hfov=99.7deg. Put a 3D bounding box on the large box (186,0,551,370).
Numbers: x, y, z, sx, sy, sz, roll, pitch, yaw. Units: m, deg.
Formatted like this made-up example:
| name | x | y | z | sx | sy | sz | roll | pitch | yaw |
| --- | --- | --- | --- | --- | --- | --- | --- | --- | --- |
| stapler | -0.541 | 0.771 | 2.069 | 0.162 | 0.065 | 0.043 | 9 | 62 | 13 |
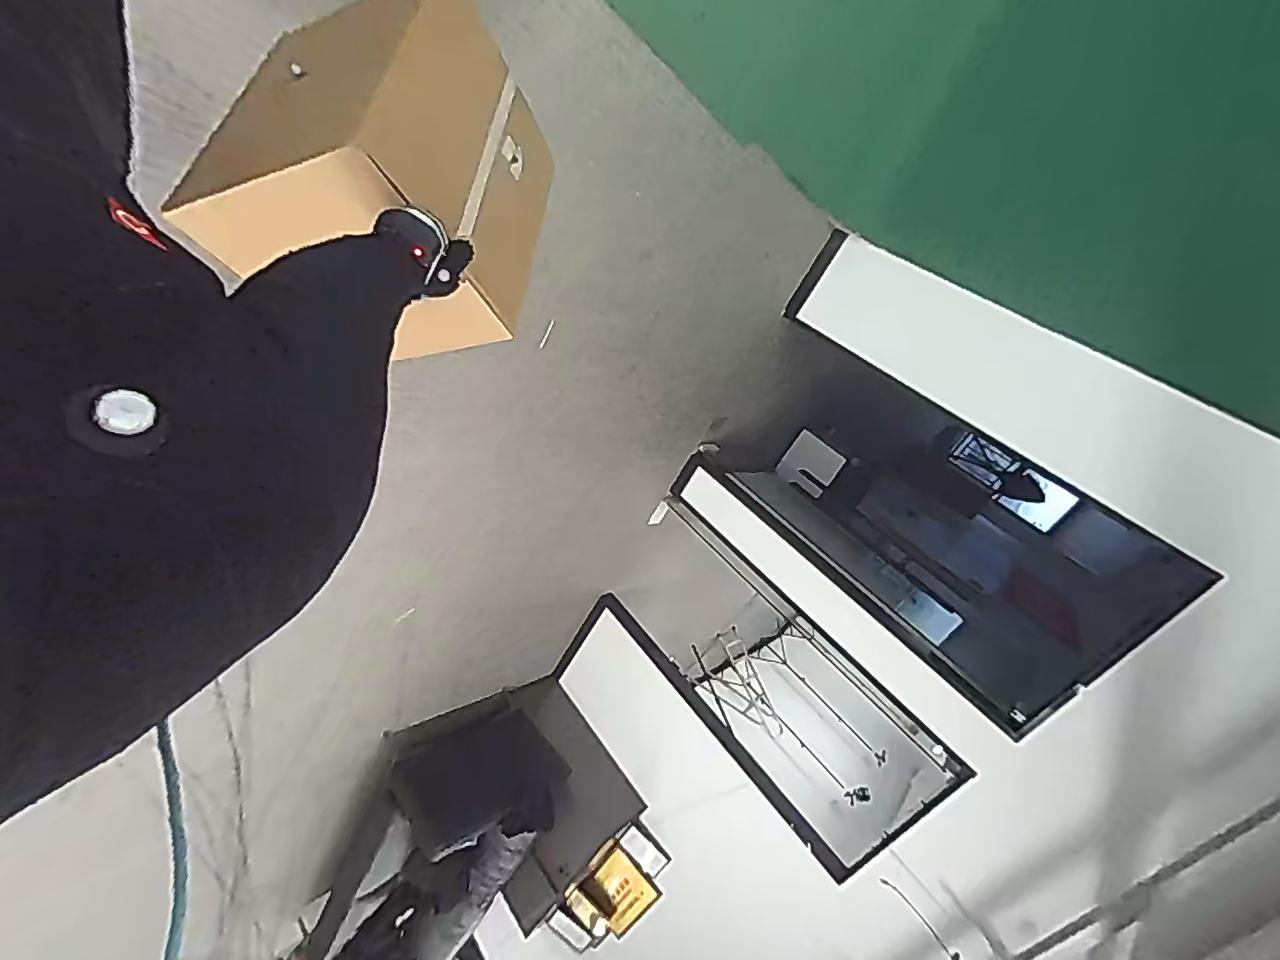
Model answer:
| name | x | y | z | sx | sy | sz | roll | pitch | yaw |
| --- | --- | --- | --- | --- | --- | --- | --- | --- | --- |
| large box | -0.366 | -0.436 | 0.823 | 0.320 | 0.408 | 0.320 | -5 | 153 | 19 |
